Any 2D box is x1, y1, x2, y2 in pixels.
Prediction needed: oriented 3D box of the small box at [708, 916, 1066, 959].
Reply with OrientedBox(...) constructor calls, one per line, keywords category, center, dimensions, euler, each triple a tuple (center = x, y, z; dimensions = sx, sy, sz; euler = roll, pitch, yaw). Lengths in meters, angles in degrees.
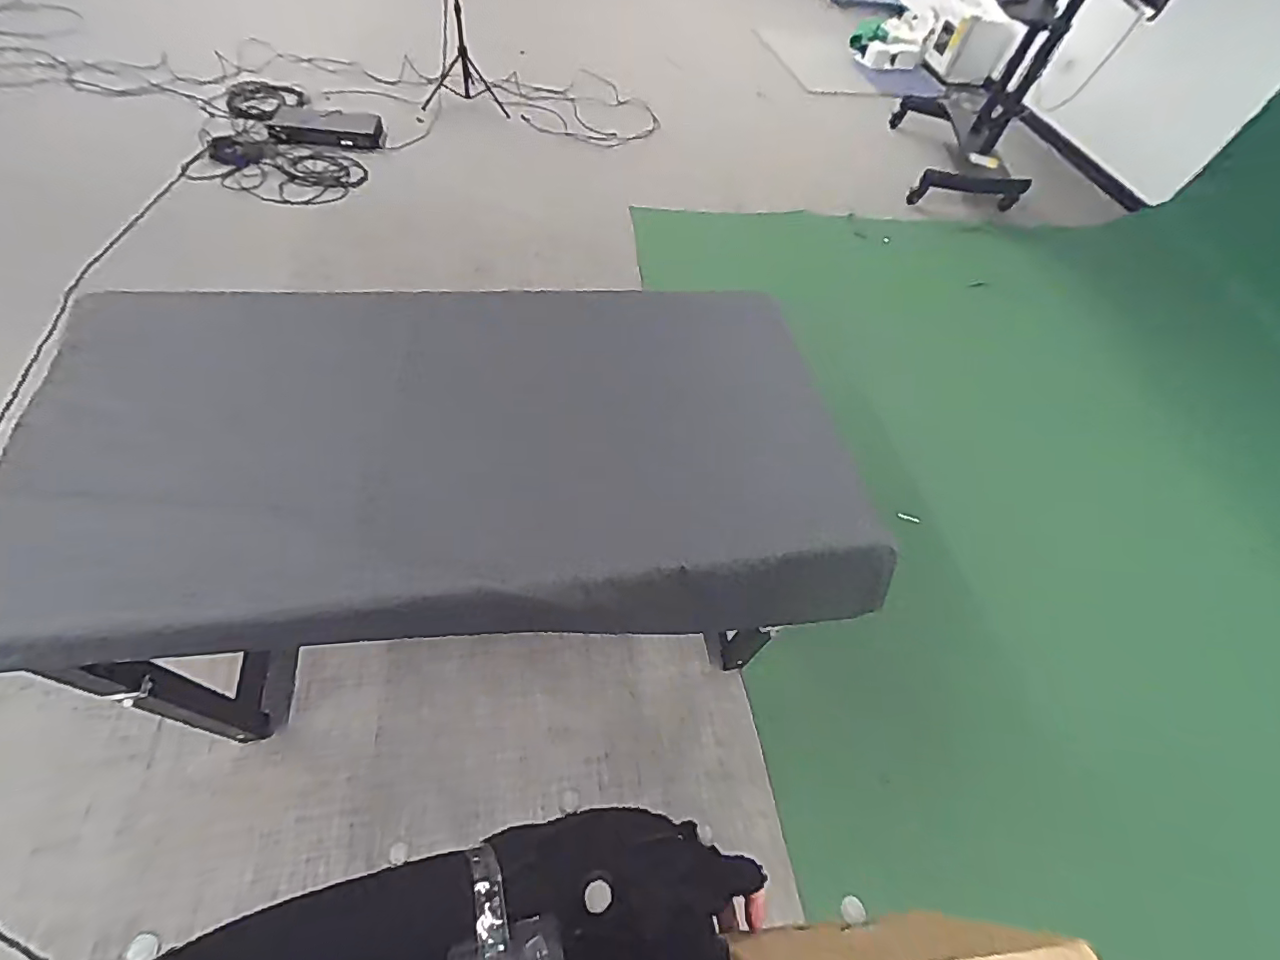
OrientedBox(category="small box", center=(0.137, 0.357, 0.289), dimensions=(0.168, 0.176, 0.179), euler=(0, 55, -5))
